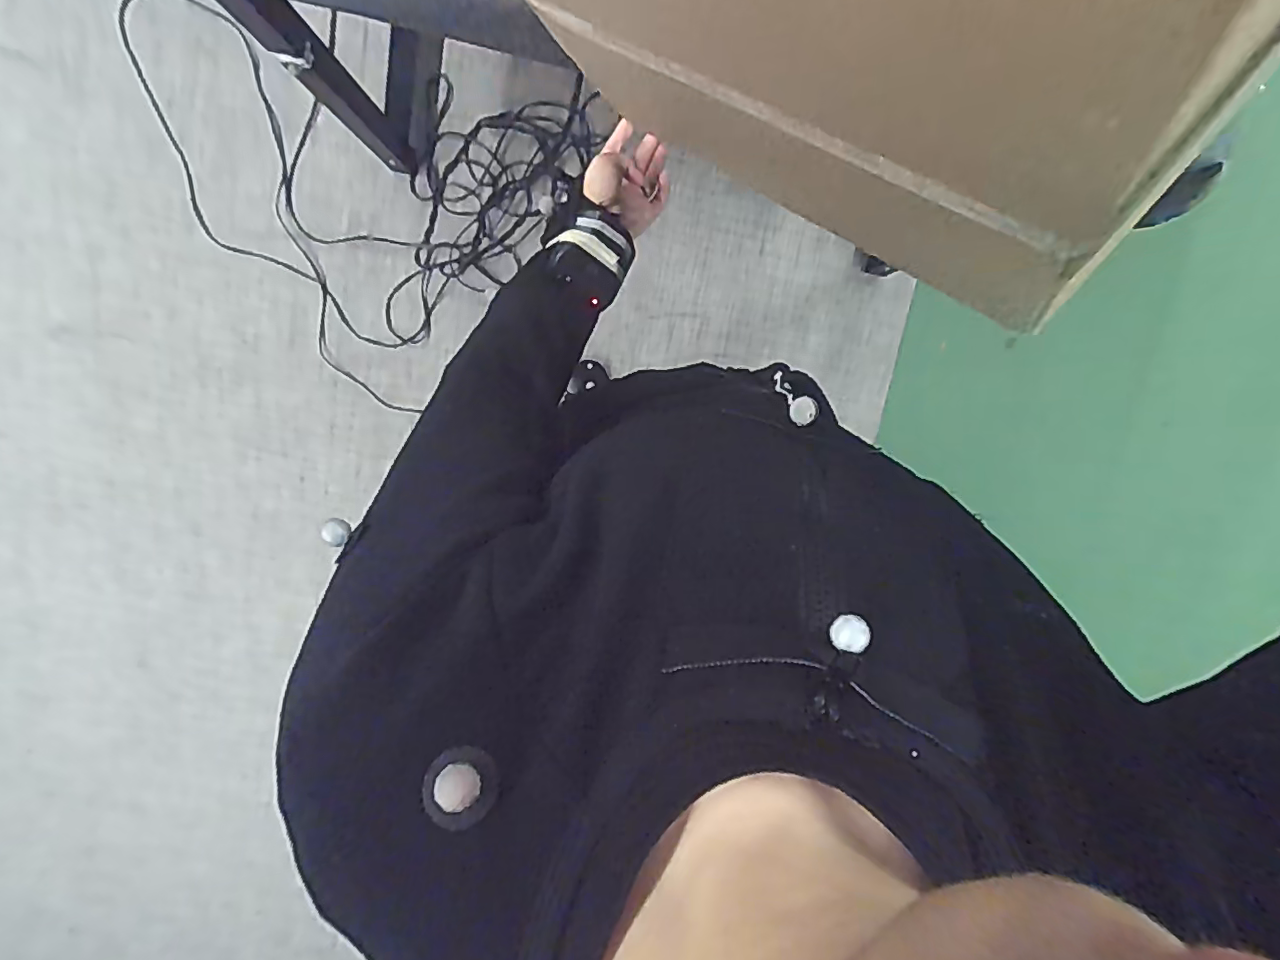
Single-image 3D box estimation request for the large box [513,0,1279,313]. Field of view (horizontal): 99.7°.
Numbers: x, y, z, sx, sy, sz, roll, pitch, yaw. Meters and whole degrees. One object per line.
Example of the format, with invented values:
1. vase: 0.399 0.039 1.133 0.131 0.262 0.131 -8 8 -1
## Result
1. large box: 0.137 -0.343 0.273 0.408 0.320 0.320 39 106 22
